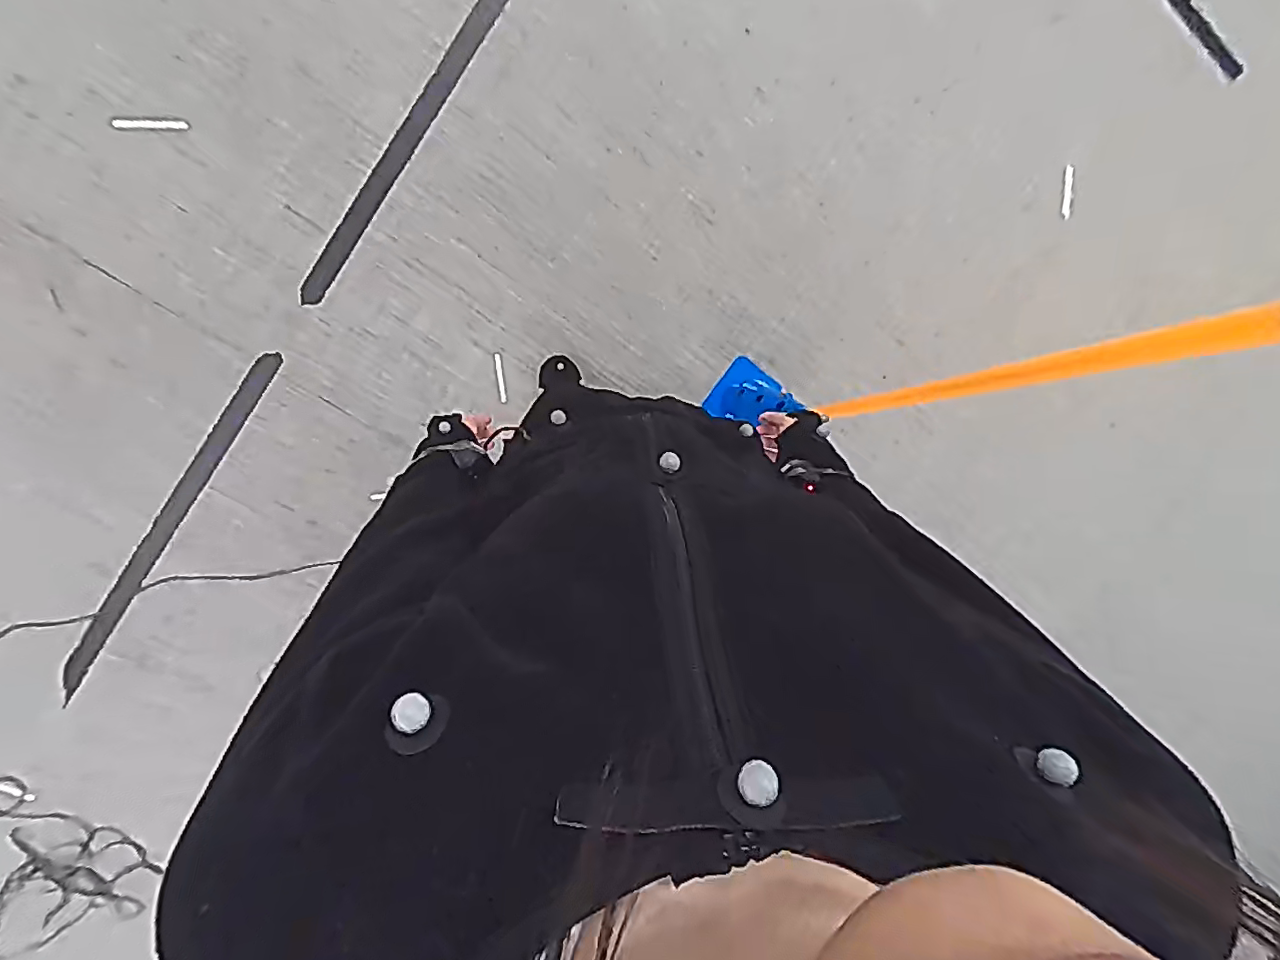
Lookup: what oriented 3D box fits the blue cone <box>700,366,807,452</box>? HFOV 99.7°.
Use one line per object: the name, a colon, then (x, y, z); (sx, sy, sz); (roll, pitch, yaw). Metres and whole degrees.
blue cone: (0.301, -0.154, 1.274); (0.193, 0.380, 0.192); (37, 95, -14)
